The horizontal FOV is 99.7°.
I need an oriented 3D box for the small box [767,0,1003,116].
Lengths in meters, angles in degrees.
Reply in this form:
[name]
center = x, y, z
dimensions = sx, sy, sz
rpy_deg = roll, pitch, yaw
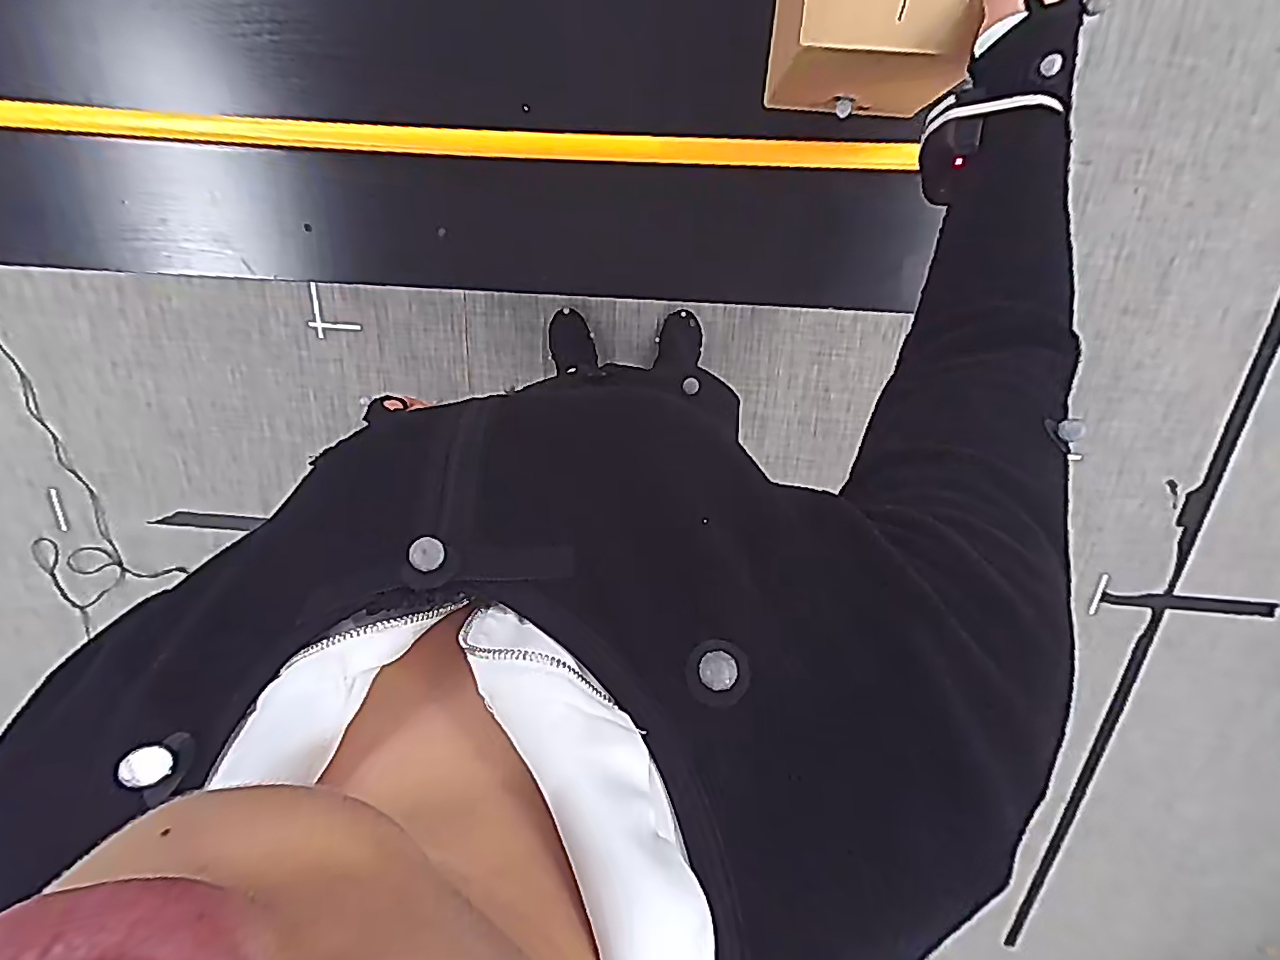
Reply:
[small box]
center = 0.223, -0.472, 0.504
dimensions = 0.168, 0.176, 0.179
rpy_deg = 5, 110, 1
